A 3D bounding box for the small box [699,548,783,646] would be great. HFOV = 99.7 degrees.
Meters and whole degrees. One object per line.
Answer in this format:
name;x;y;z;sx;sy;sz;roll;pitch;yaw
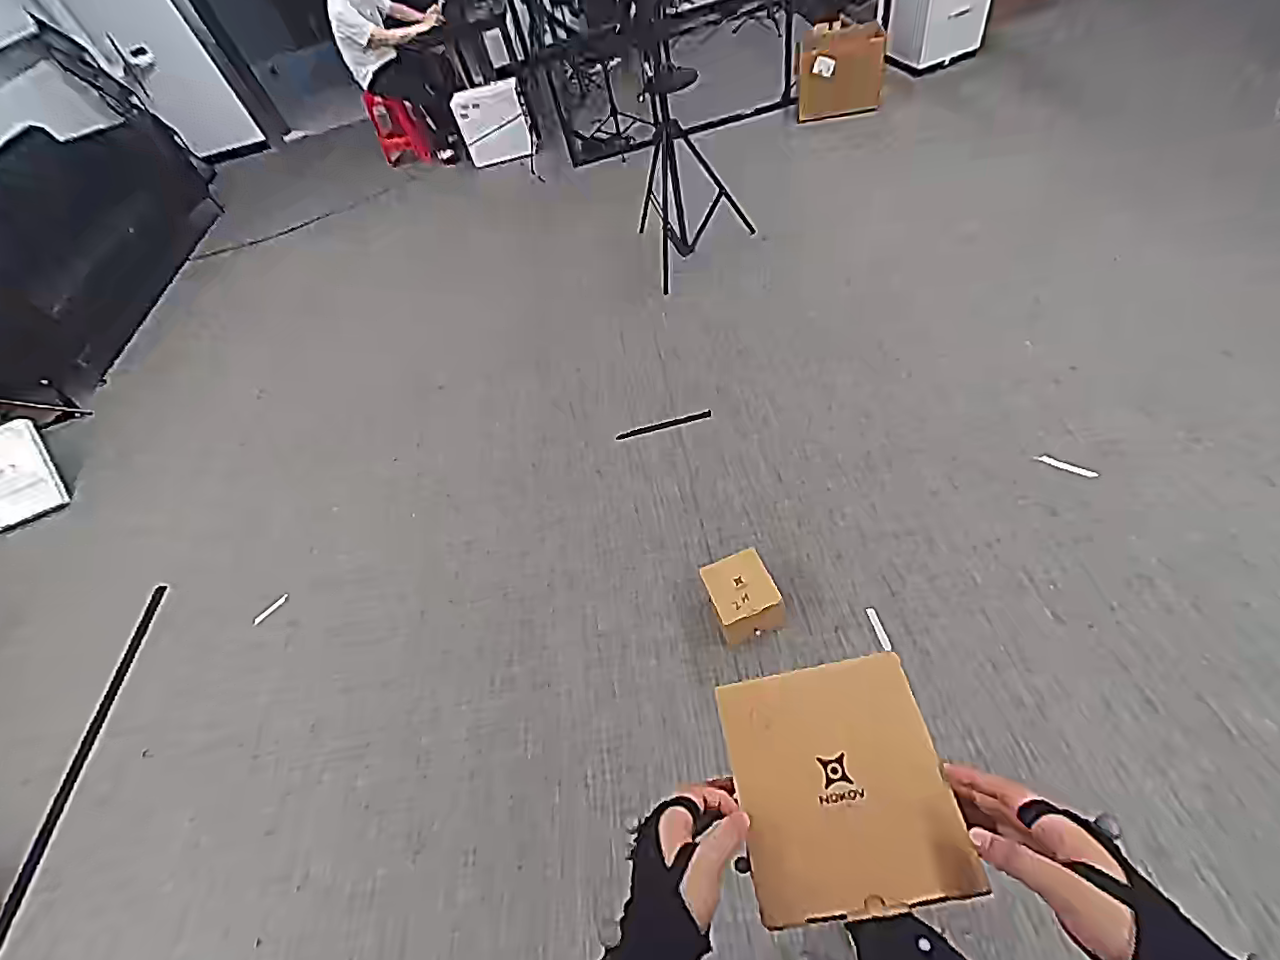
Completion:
small box;0.274;0.321;1.470;0.168;0.176;0.179;-22;52;-2
